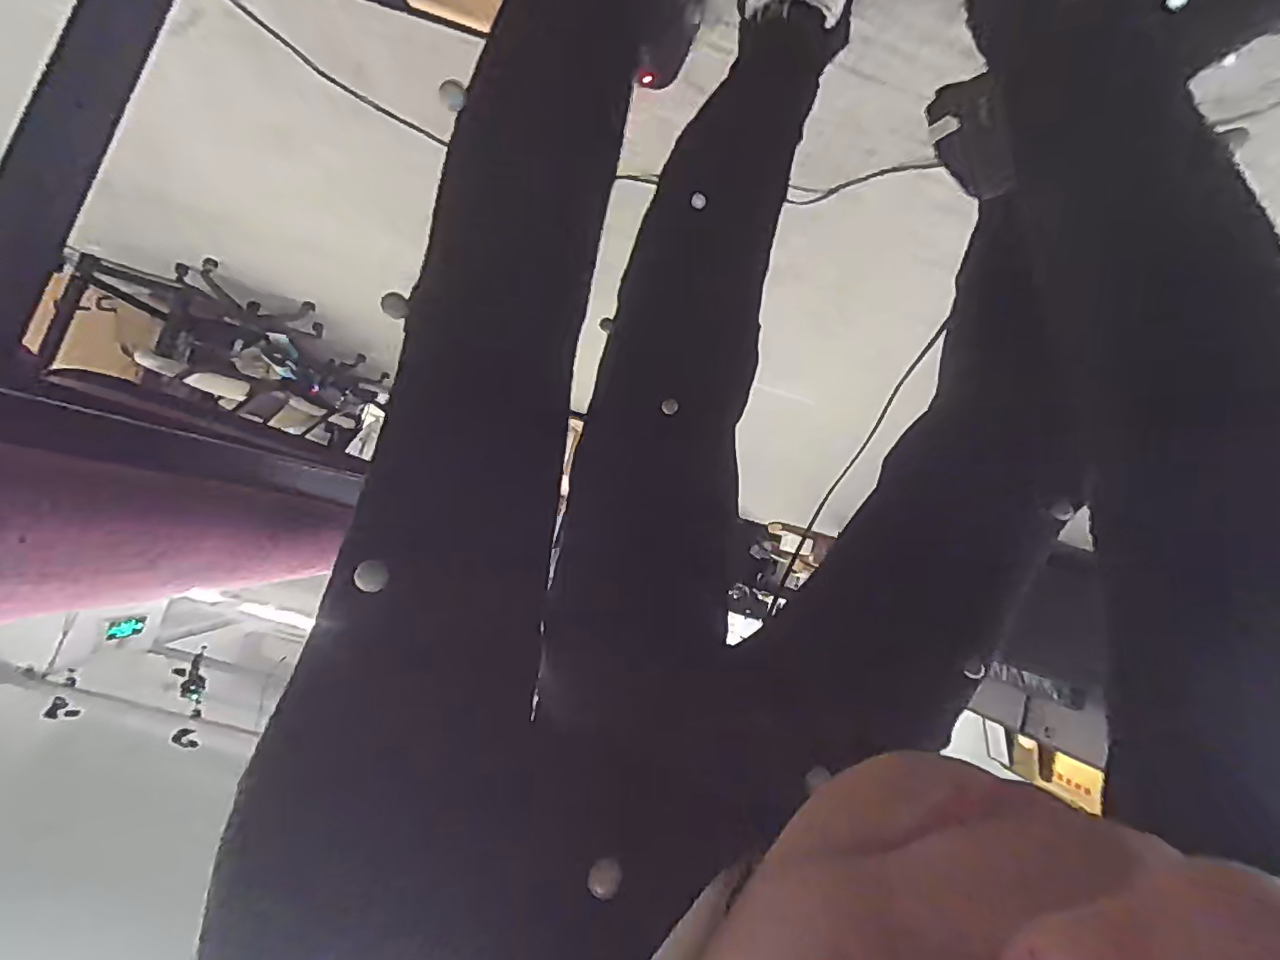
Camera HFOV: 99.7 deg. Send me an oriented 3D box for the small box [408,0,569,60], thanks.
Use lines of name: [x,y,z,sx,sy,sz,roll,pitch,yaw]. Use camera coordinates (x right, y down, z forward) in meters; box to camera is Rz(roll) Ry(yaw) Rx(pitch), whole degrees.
small box: [-0.142,-0.574,0.520,0.168,0.176,0.179,17,172,-2]
